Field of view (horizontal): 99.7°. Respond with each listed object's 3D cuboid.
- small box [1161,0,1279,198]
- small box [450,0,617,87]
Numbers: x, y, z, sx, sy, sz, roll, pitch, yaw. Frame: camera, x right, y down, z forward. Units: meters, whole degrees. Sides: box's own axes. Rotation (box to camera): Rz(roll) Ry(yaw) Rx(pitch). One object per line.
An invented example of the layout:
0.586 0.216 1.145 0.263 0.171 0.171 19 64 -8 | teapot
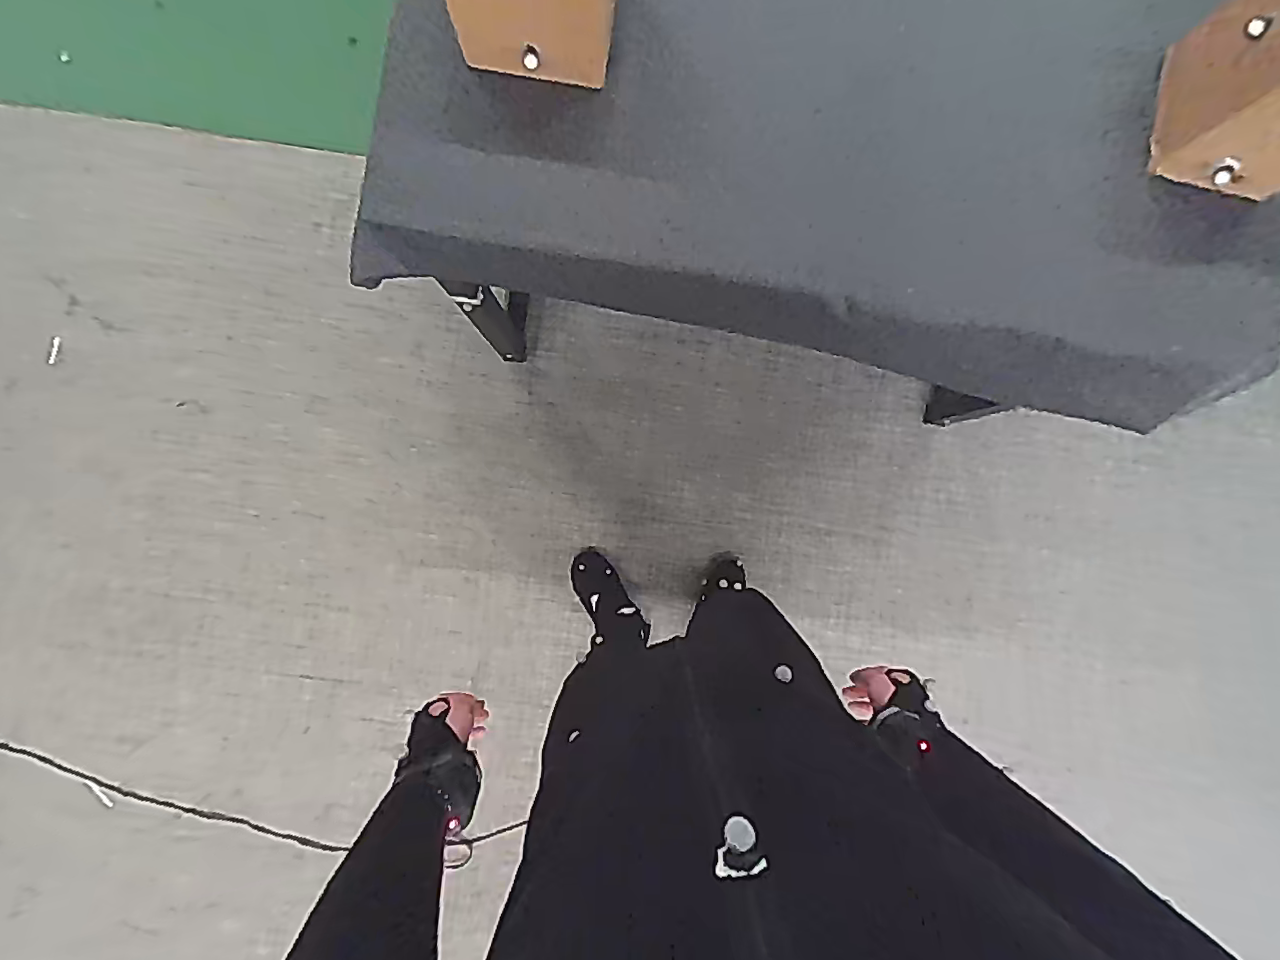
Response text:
0.766 -0.468 0.622 0.168 0.176 0.179 14 88 1 | small box
-0.114 -0.590 0.611 0.179 0.176 0.168 8 88 -3 | small box
